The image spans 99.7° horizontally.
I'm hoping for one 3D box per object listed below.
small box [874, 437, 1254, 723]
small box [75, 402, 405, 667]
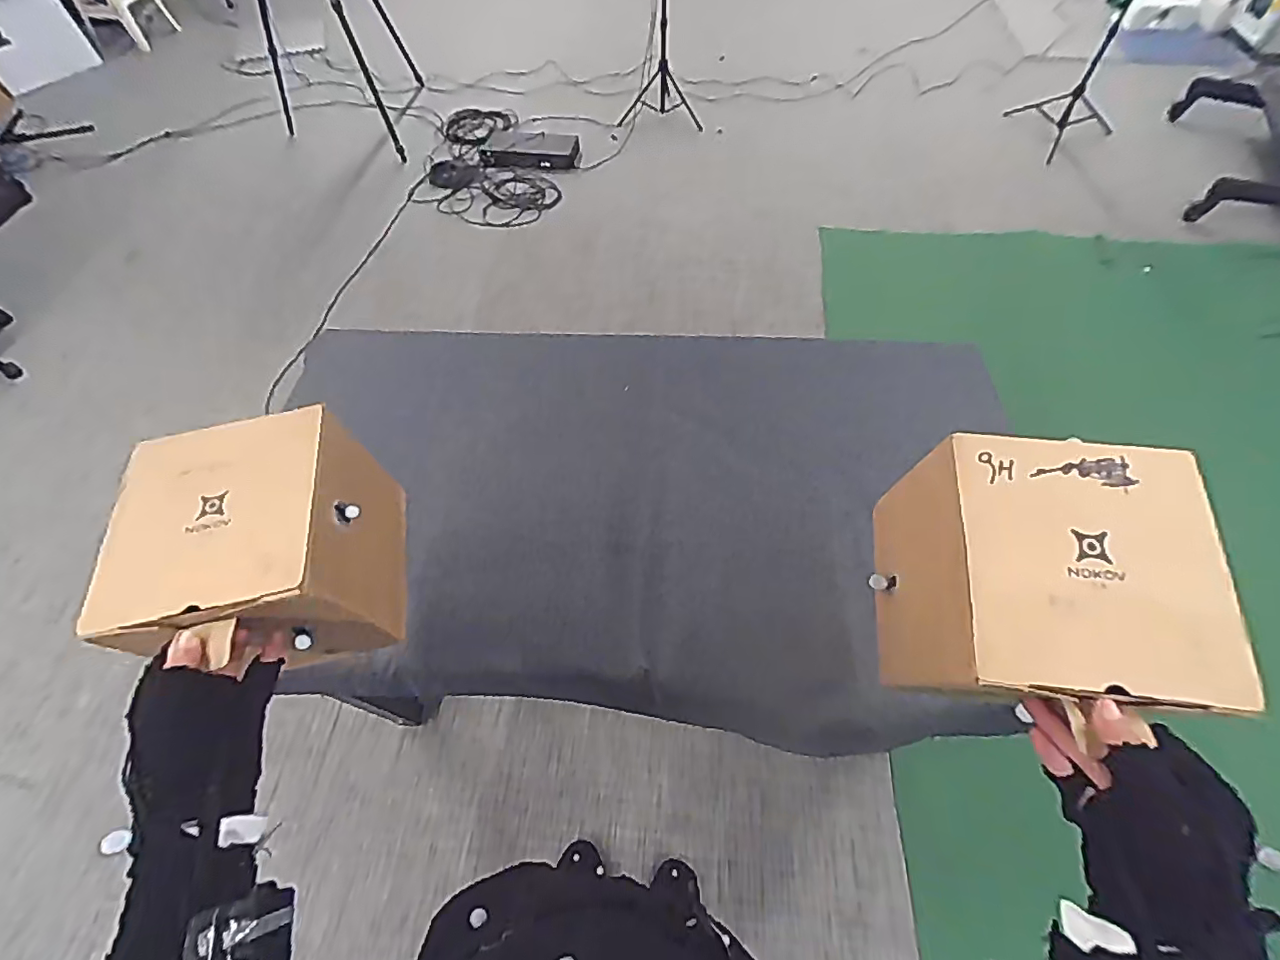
[{"bbox_3d":[0.300,0.084,0.432,0.168,0.176,0.179,5,70,4],"label":"small box"},{"bbox_3d":[-0.331,0.061,0.494,0.168,0.176,0.179,-12,60,-3],"label":"small box"}]
